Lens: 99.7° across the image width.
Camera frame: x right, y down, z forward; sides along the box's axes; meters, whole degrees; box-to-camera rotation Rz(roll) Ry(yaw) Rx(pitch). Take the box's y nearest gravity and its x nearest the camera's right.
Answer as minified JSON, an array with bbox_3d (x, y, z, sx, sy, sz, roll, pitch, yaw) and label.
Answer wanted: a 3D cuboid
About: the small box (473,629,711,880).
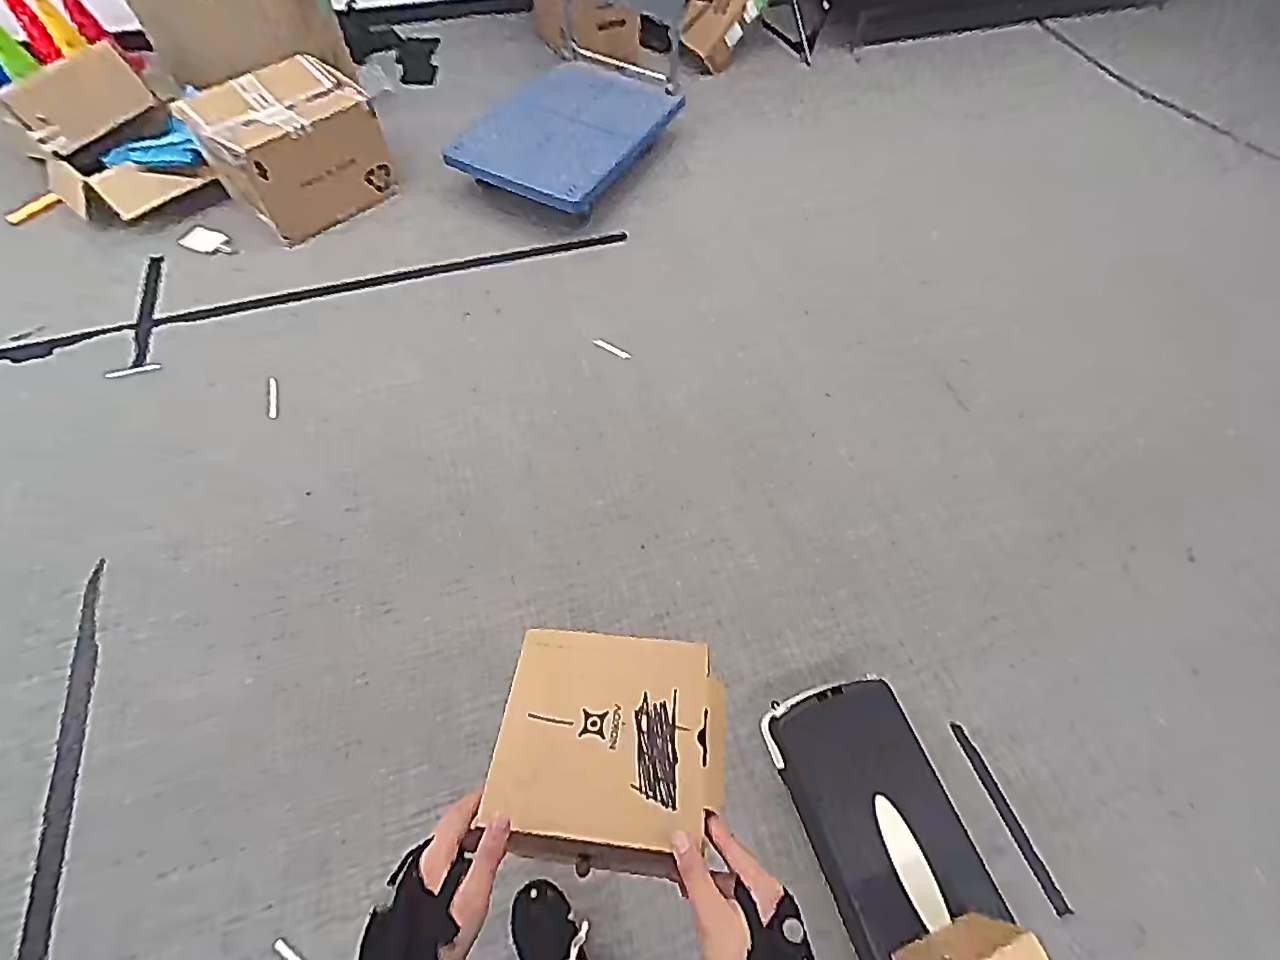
[{"bbox_3d":[-0.028,0.260,0.508,0.179,0.176,0.168,3,48,6],"label":"small box"}]

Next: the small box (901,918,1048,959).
[{"bbox_3d":[0.548,0.826,0.843,0.179,0.176,0.168,-17,62,-11],"label":"small box"}]
